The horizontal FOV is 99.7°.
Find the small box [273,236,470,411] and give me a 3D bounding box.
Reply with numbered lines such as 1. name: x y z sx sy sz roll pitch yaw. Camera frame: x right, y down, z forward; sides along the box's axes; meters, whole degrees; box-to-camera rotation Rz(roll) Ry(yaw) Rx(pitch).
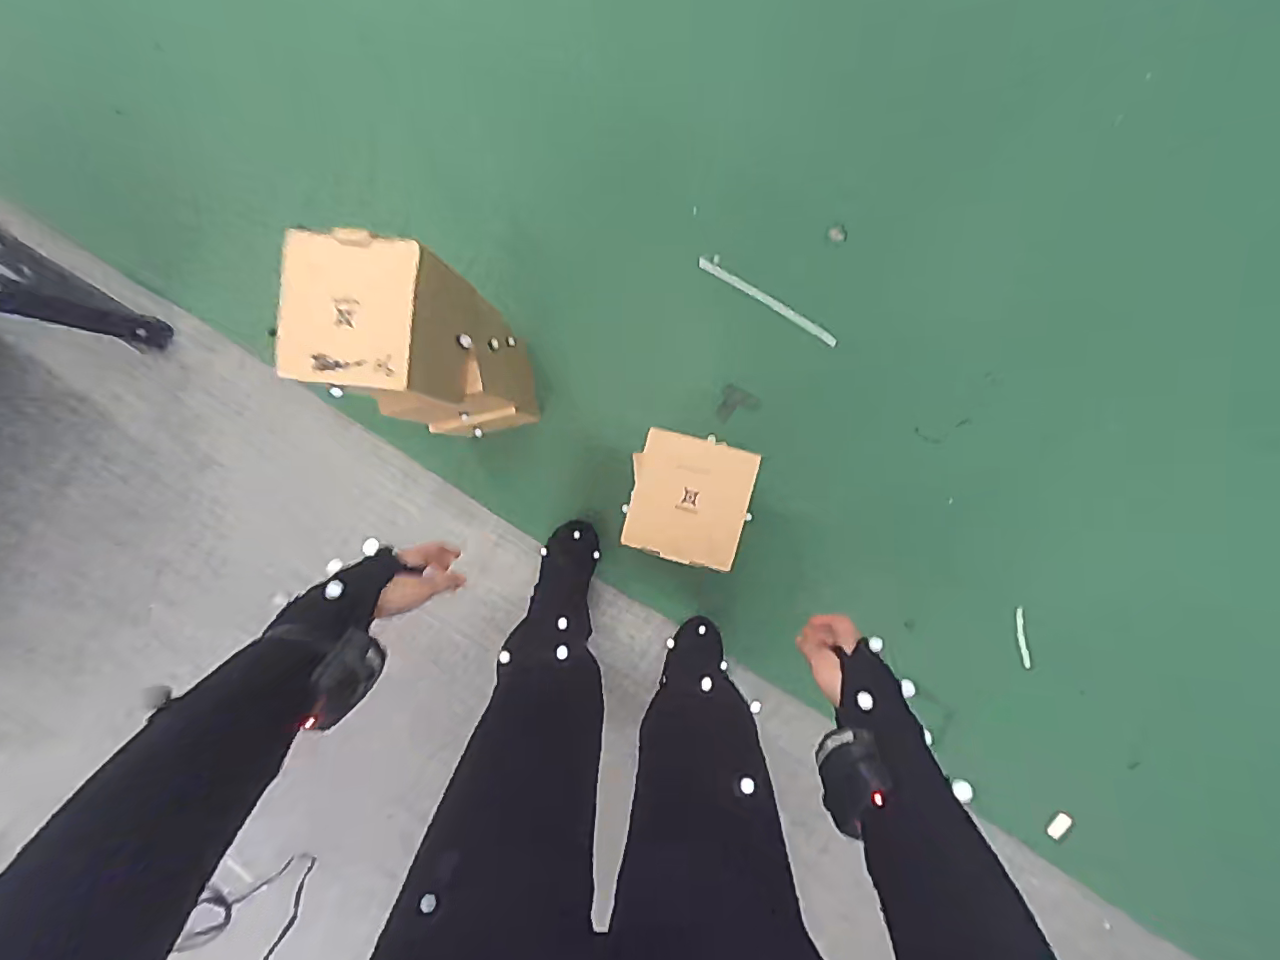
1. small box: -0.337 -0.193 0.712 0.168 0.176 0.179 7 92 5

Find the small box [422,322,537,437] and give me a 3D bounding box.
1. small box: -0.311 -0.182 1.040 0.168 0.176 0.179 -13 90 5

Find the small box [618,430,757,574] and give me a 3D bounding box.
1. small box: 0.073 0.030 0.847 0.168 0.176 0.179 14 92 3
